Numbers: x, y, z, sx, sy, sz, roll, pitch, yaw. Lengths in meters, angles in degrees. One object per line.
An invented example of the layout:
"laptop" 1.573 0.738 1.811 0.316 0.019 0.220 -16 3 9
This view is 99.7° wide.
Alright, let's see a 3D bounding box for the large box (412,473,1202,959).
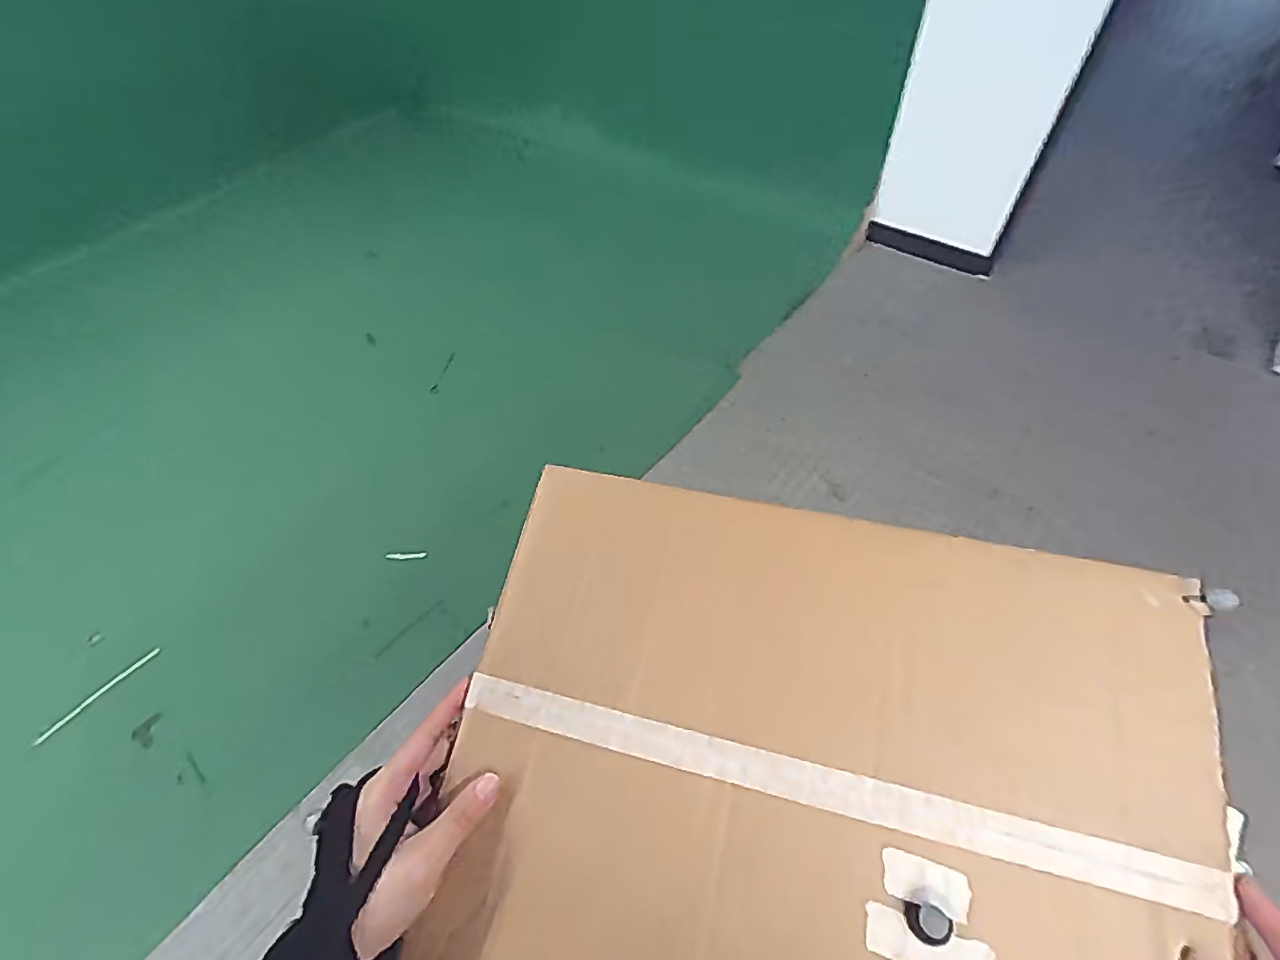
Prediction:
"large box" 0.108 0.216 0.455 0.408 0.320 0.320 9 71 11
